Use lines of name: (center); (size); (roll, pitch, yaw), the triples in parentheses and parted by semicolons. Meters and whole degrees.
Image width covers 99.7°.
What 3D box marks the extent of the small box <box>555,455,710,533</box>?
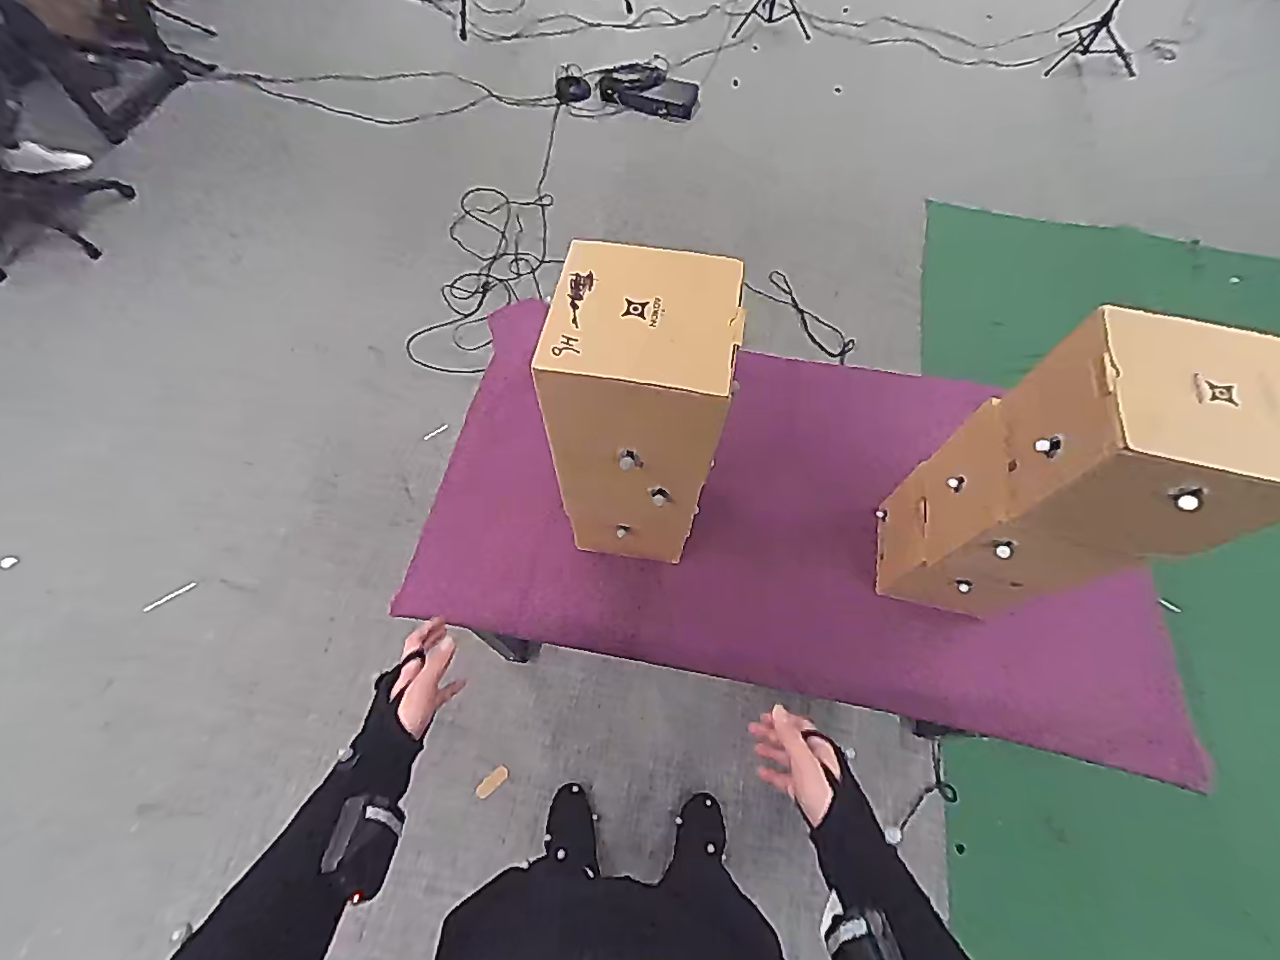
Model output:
small box: (0.001, -0.041, 0.717); (0.179, 0.176, 0.168); (10, 63, 4)

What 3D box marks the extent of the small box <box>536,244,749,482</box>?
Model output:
small box: (0.005, -0.113, 0.570); (0.179, 0.176, 0.168); (10, 63, 3)

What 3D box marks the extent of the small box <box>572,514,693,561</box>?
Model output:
small box: (-0.003, 0.021, 0.870); (0.179, 0.176, 0.168); (8, 63, 3)

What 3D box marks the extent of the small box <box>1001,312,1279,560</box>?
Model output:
small box: (0.493, -0.035, 0.541); (0.179, 0.176, 0.168); (14, 64, 6)

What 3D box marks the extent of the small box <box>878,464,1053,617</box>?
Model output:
small box: (0.488, 0.100, 0.840); (0.179, 0.176, 0.168); (13, 63, 5)
